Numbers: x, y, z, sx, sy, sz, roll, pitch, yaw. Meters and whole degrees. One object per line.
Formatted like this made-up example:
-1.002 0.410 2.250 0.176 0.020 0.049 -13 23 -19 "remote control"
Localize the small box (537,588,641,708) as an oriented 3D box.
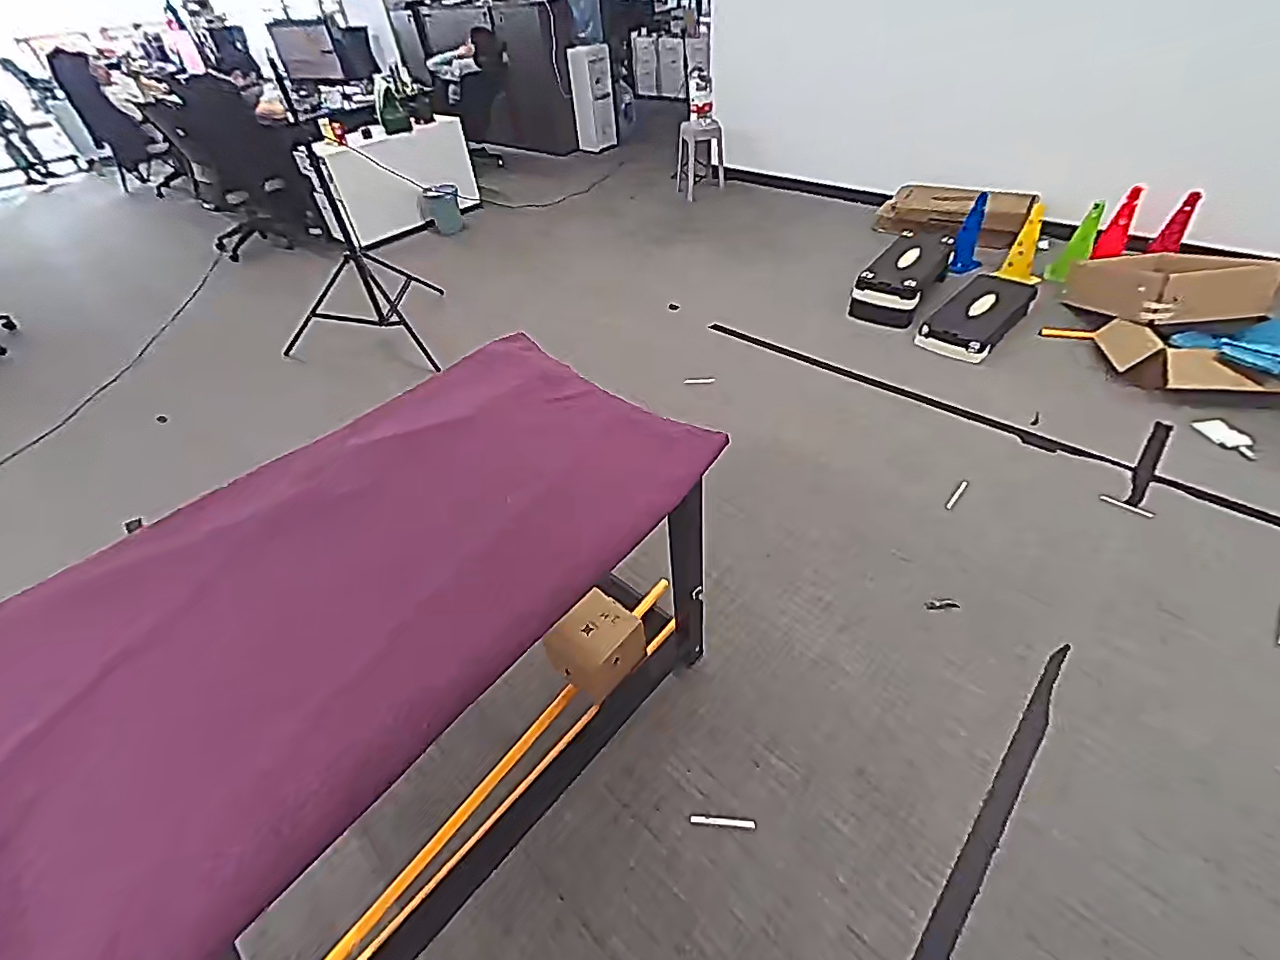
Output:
-0.112 0.399 1.276 0.168 0.176 0.179 30 55 30 "small box"
